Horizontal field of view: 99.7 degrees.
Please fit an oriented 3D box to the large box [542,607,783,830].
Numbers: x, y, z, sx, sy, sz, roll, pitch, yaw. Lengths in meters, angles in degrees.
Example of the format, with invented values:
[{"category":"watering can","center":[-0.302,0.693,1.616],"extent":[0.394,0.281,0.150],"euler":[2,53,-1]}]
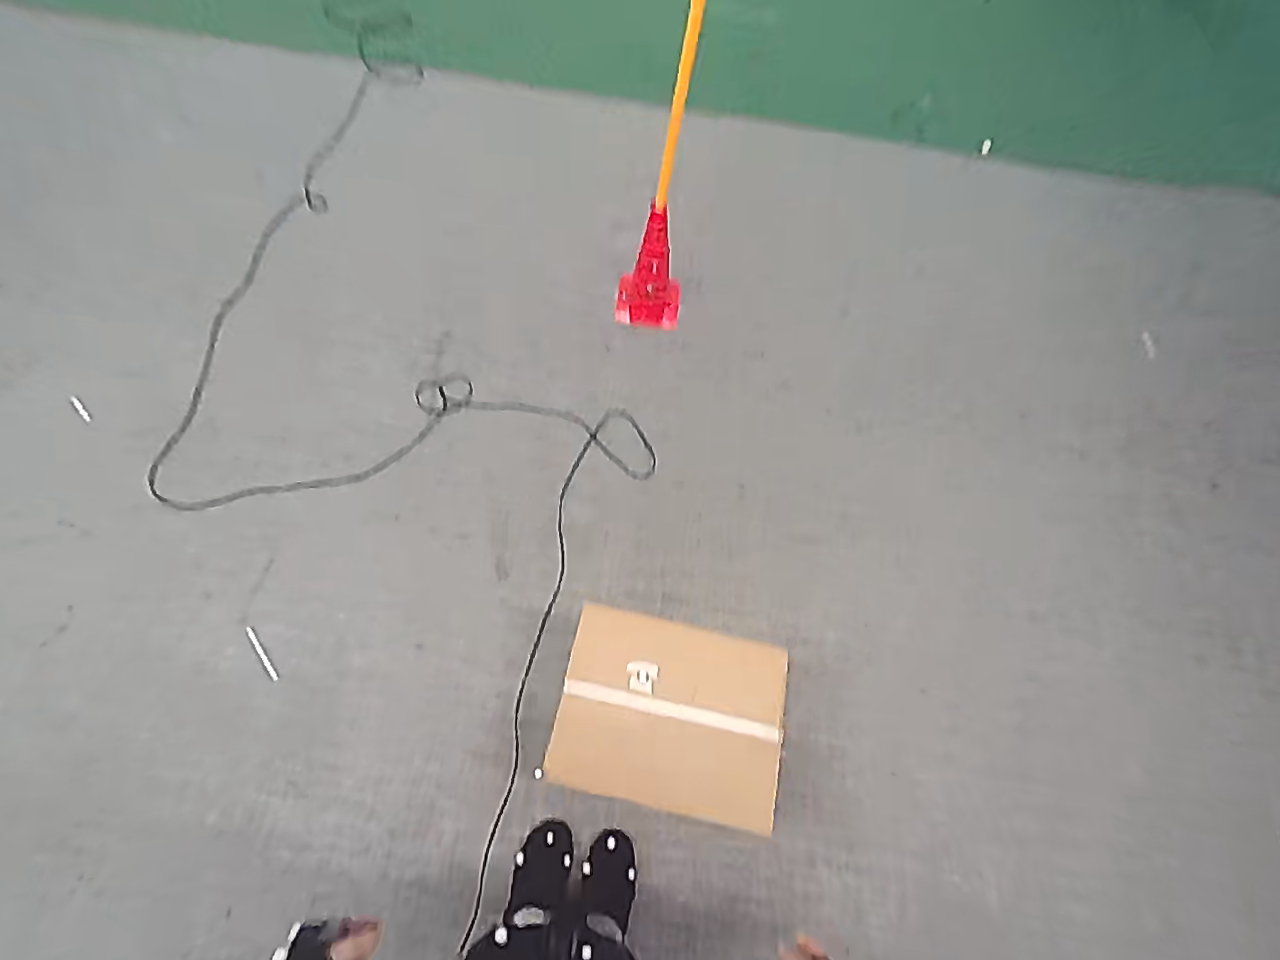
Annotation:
[{"category":"large box","center":[0.046,0.483,1.124],"extent":[0.408,0.320,0.320],"euler":[13,64,2]}]
